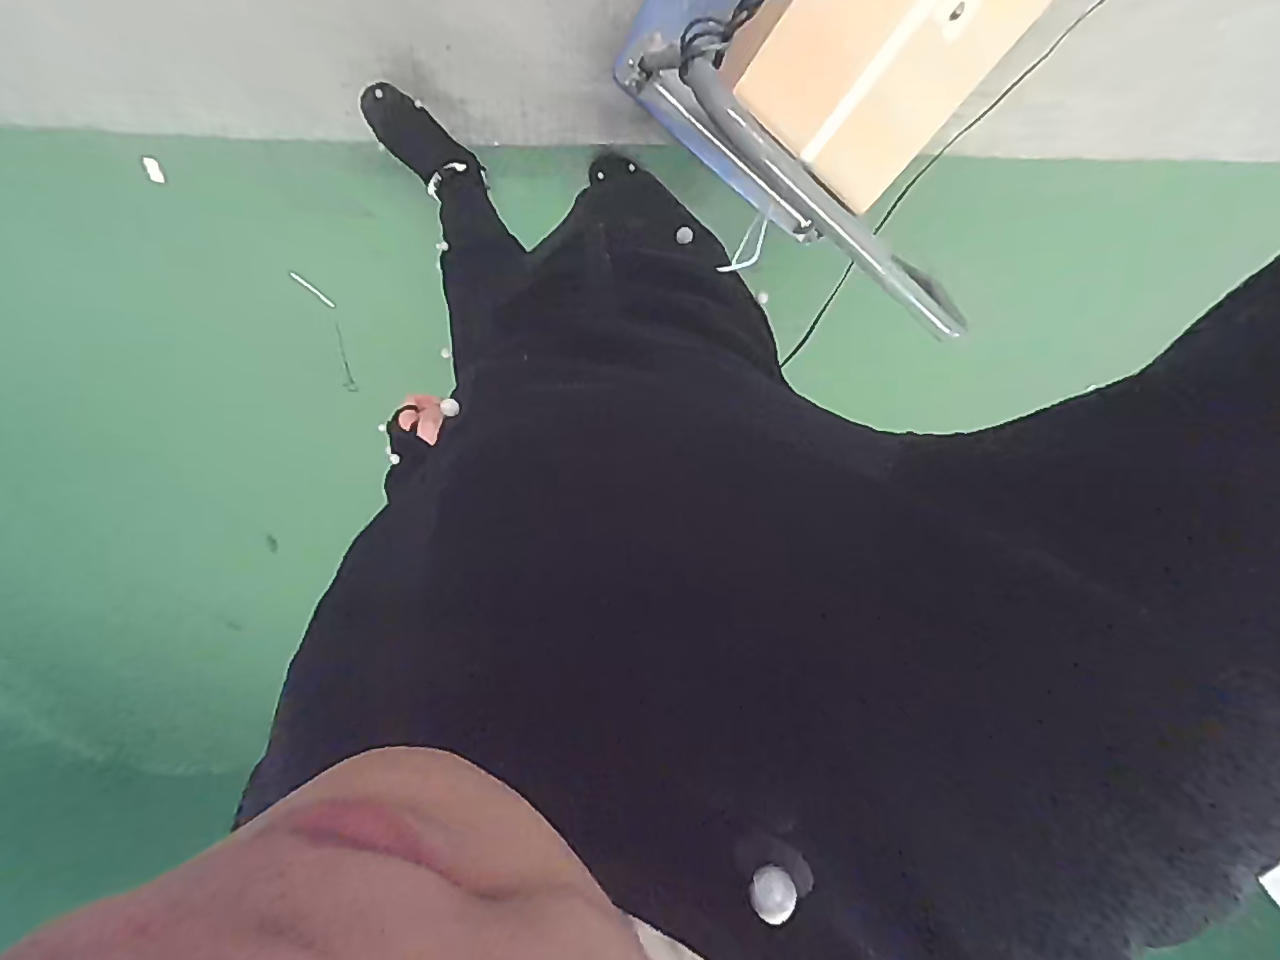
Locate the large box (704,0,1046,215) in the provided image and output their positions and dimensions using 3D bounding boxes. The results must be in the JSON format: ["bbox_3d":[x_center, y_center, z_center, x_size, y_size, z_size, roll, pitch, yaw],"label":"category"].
[{"bbox_3d":[0.363,-0.745,0.908,0.320,0.320,0.408,28,121,-25],"label":"large box"}]
